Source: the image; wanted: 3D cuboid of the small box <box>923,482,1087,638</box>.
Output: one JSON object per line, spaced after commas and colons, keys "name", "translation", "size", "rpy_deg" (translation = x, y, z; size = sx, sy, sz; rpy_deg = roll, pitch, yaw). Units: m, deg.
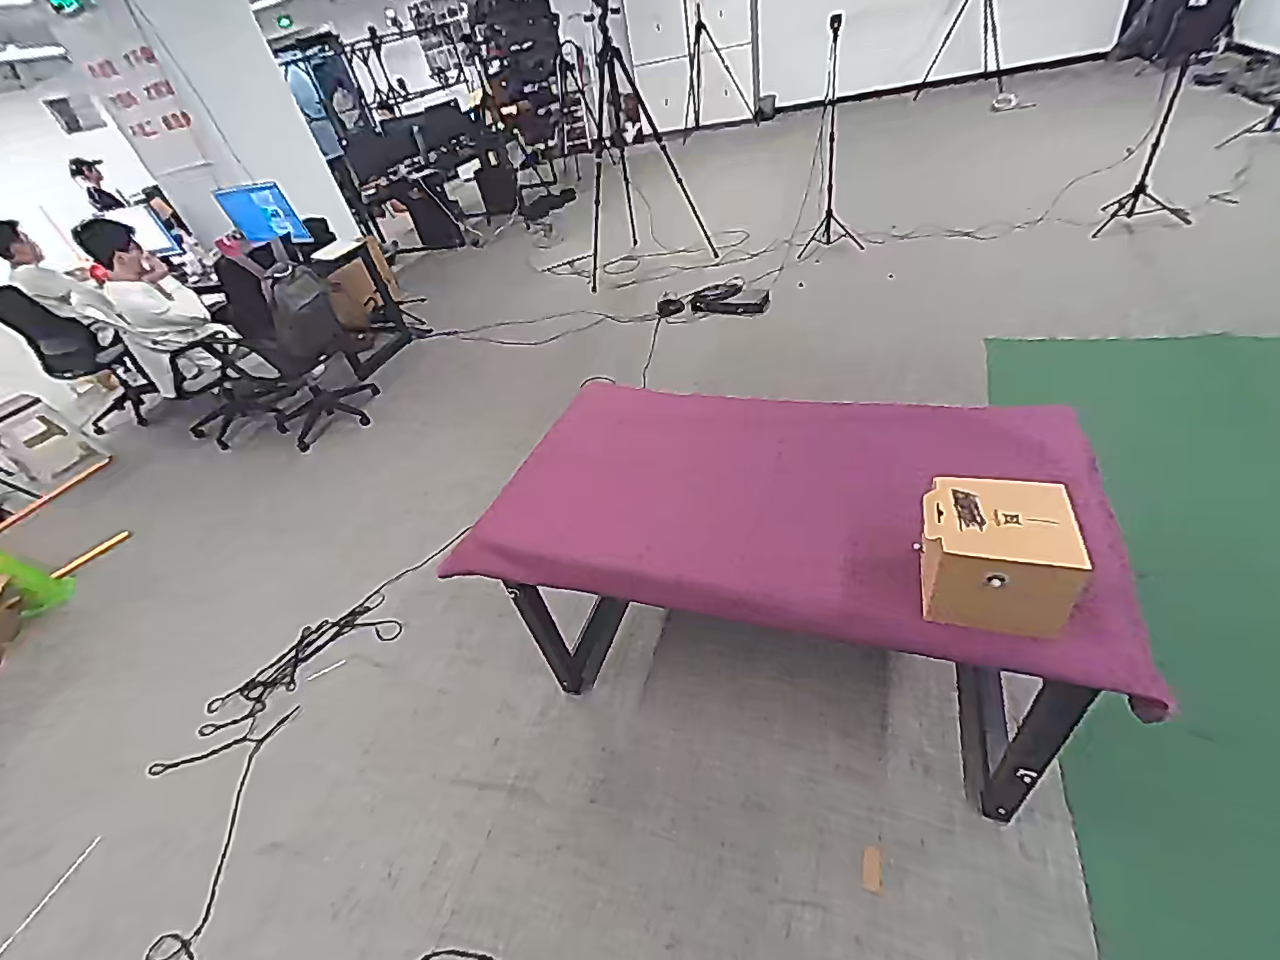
{"name": "small box", "translation": [0.543, 0.122, 0.838], "size": [0.179, 0.176, 0.168], "rpy_deg": [5, 43, 21]}
